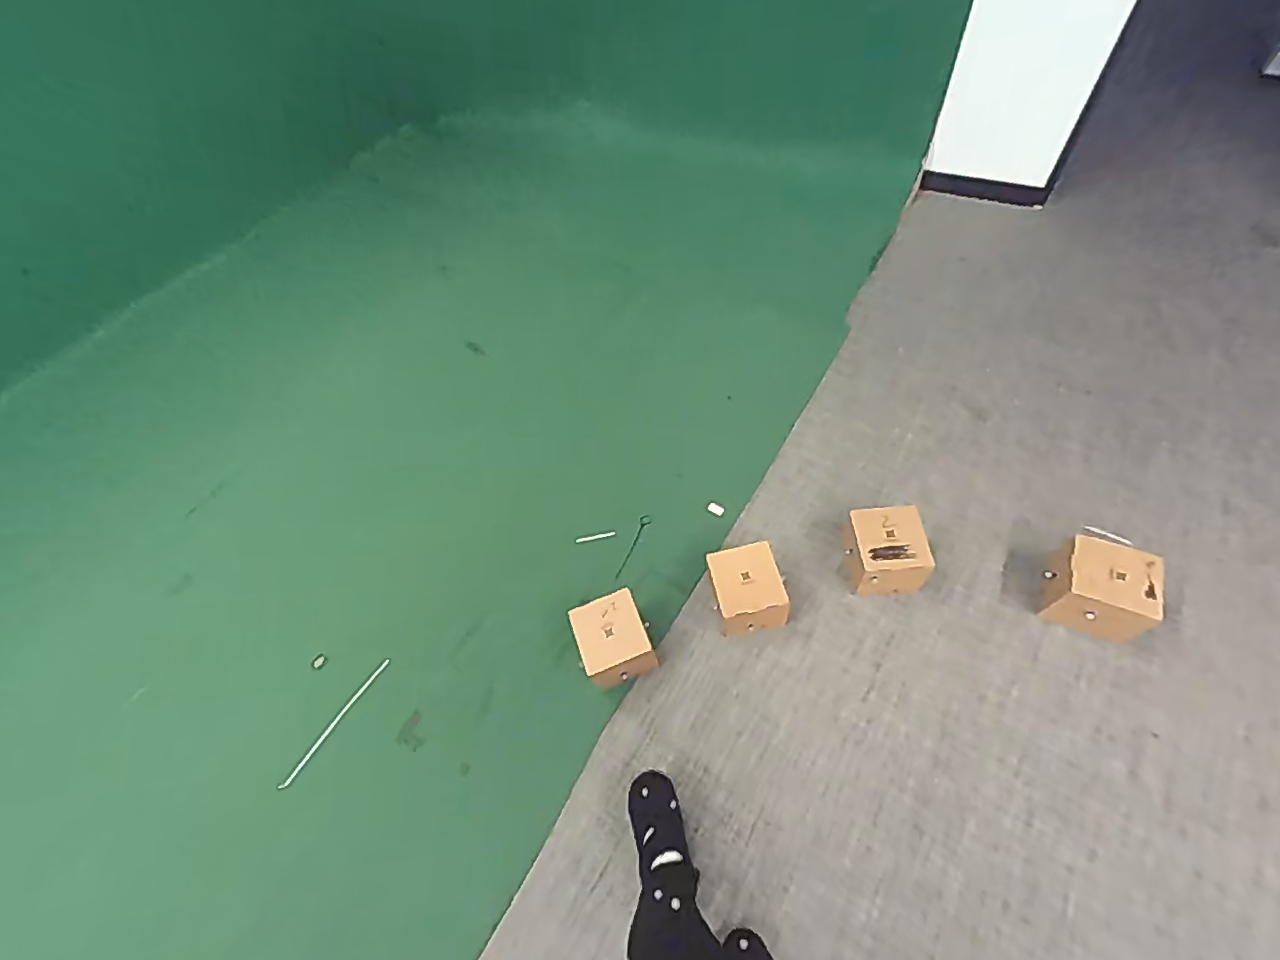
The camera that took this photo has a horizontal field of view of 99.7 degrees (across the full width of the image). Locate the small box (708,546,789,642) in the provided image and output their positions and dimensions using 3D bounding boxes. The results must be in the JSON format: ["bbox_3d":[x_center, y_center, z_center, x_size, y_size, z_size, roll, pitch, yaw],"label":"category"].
[{"bbox_3d":[0.277,0.301,1.418,0.168,0.176,0.179,-14,56,0],"label":"small box"}]

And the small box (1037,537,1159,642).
[{"bbox_3d":[1.093,0.269,1.302,0.179,0.176,0.168,18,62,21],"label":"small box"}]

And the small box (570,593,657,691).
[{"bbox_3d":[-0.063,0.424,1.388,0.168,0.176,0.179,-21,55,-6],"label":"small box"}]
